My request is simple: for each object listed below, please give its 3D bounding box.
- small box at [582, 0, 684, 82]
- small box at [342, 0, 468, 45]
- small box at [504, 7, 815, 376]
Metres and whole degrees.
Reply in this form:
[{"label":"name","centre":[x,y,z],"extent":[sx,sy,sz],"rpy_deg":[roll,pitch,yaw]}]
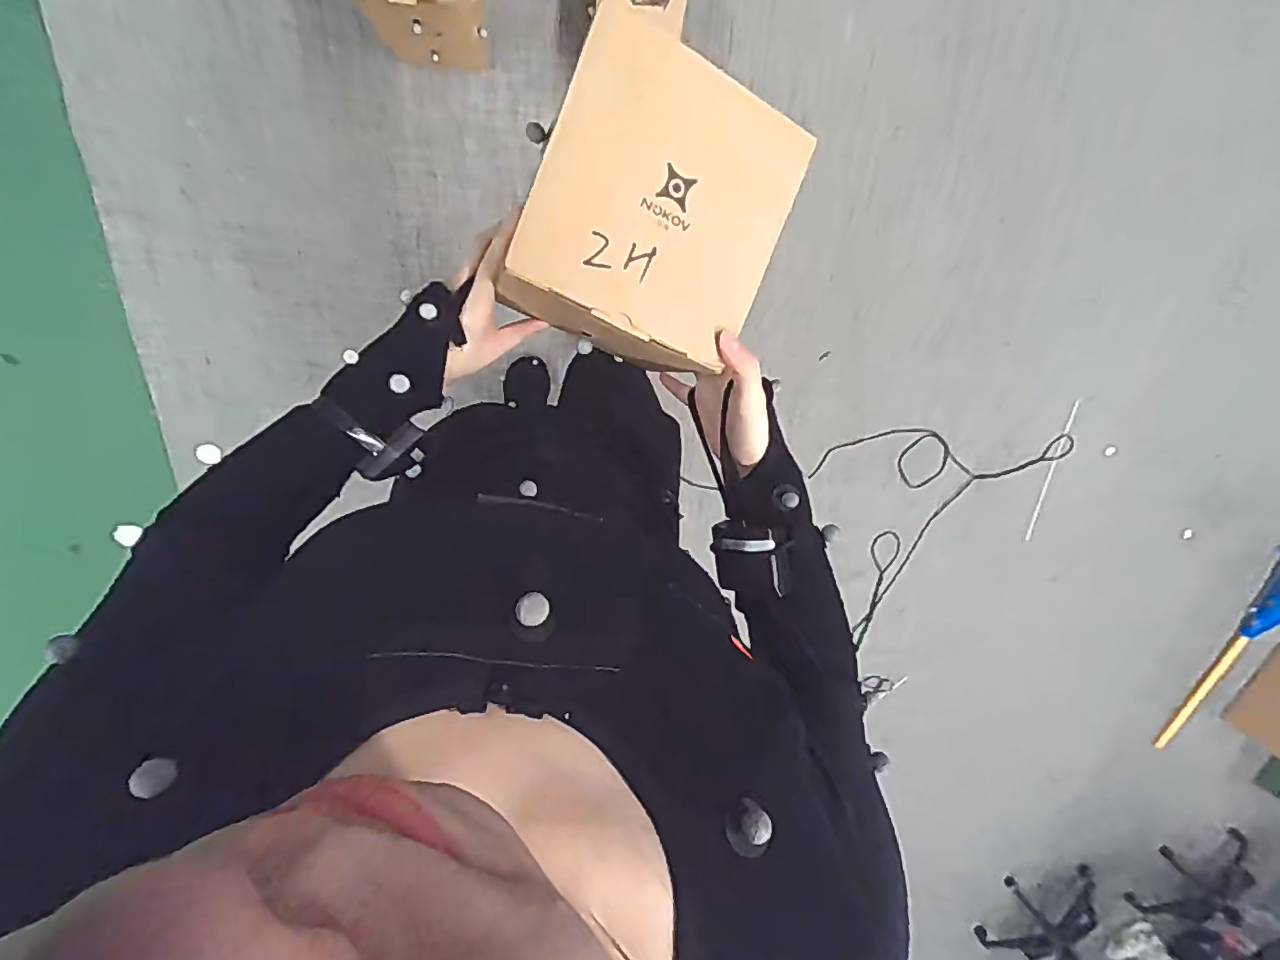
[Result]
[{"label":"small box","centre":[-0.023,-0.870,1.084],"extent":[0.168,0.176,0.179],"rpy_deg":[7,113,-12]},{"label":"small box","centre":[-0.378,-0.832,0.867],"extent":[0.168,0.176,0.179],"rpy_deg":[-1,113,-8]},{"label":"small box","centre":[-0.001,-0.196,0.433],"extent":[0.168,0.176,0.179],"rpy_deg":[20,94,-21]}]
